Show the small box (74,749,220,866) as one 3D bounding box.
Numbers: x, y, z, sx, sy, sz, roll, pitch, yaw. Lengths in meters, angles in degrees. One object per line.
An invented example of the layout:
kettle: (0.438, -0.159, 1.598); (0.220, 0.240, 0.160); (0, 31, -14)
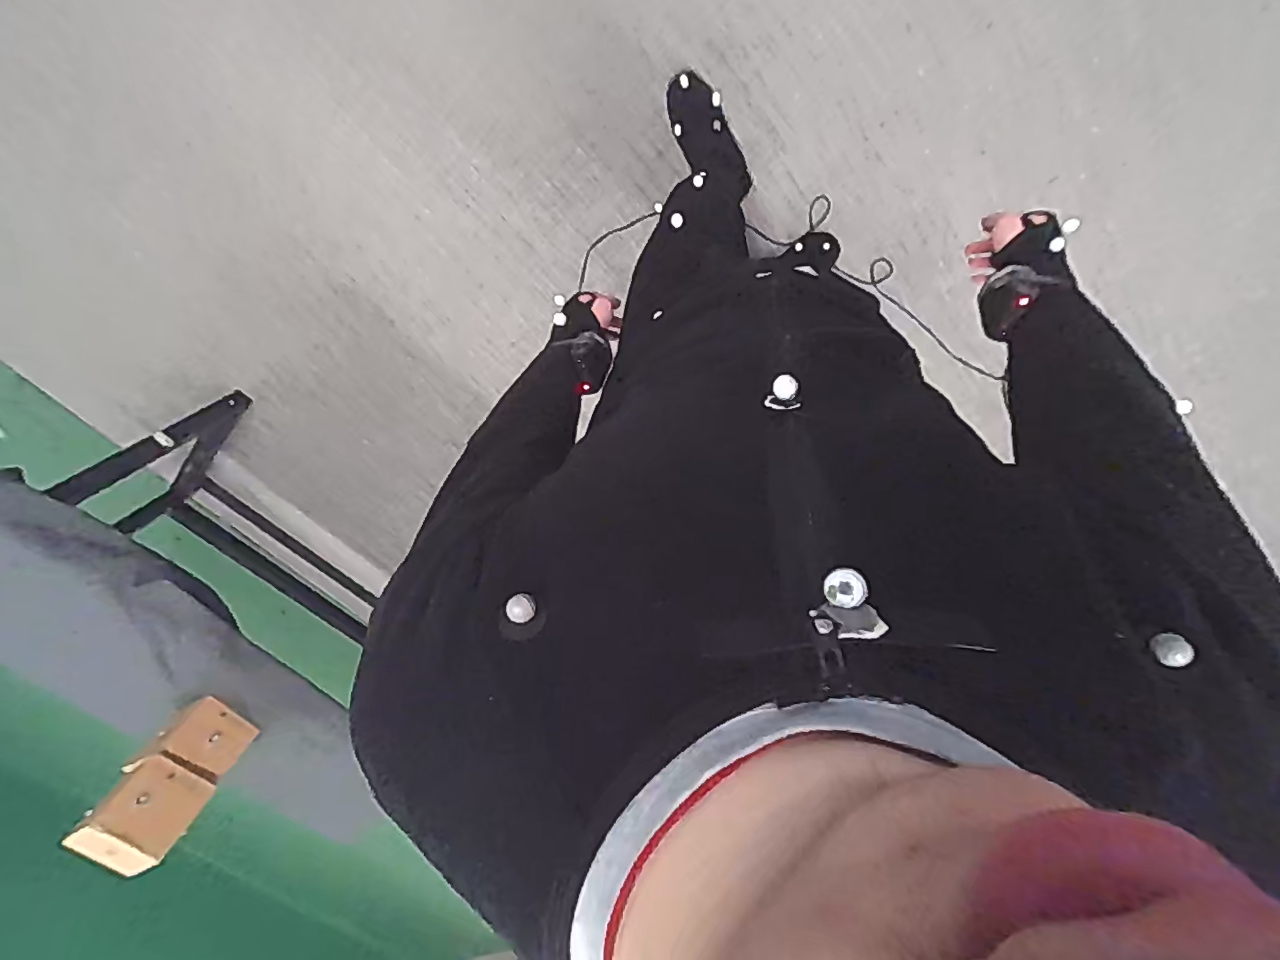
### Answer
small box: (-1.152, 0.769, 1.277); (0.179, 0.176, 0.168); (-32, 111, 26)

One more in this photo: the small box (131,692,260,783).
small box: (-1.153, 0.688, 1.420); (0.179, 0.176, 0.168); (-26, 114, 23)
